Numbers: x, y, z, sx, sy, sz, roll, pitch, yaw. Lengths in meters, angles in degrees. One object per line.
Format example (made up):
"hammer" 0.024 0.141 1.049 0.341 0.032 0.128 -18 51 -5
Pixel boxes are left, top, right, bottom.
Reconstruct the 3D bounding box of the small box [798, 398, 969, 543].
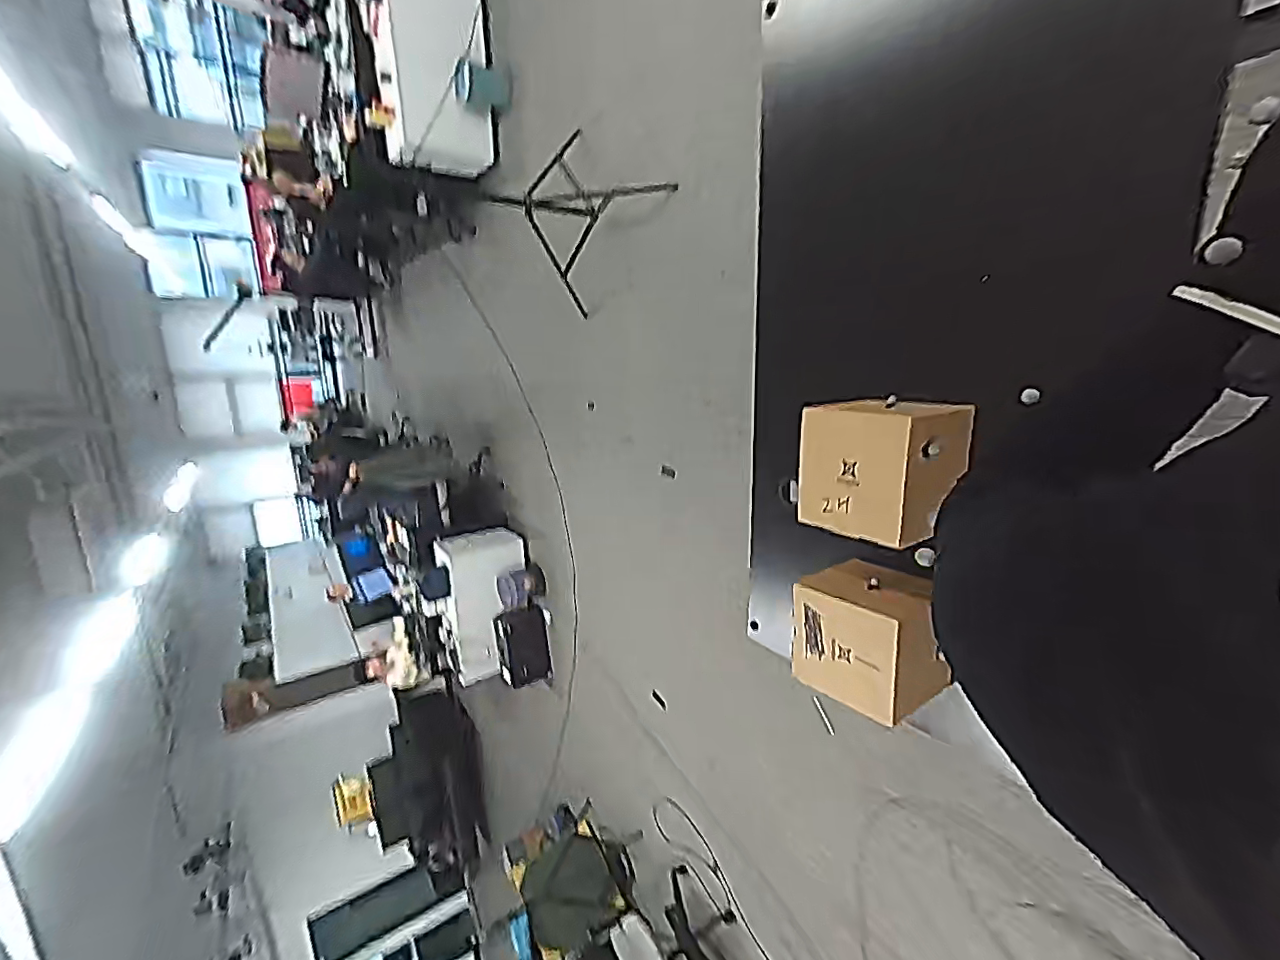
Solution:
"small box" 0.357 -0.027 0.797 0.168 0.176 0.179 17 113 54

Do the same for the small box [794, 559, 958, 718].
"small box" 0.367 0.234 0.856 0.179 0.176 0.168 13 110 53
